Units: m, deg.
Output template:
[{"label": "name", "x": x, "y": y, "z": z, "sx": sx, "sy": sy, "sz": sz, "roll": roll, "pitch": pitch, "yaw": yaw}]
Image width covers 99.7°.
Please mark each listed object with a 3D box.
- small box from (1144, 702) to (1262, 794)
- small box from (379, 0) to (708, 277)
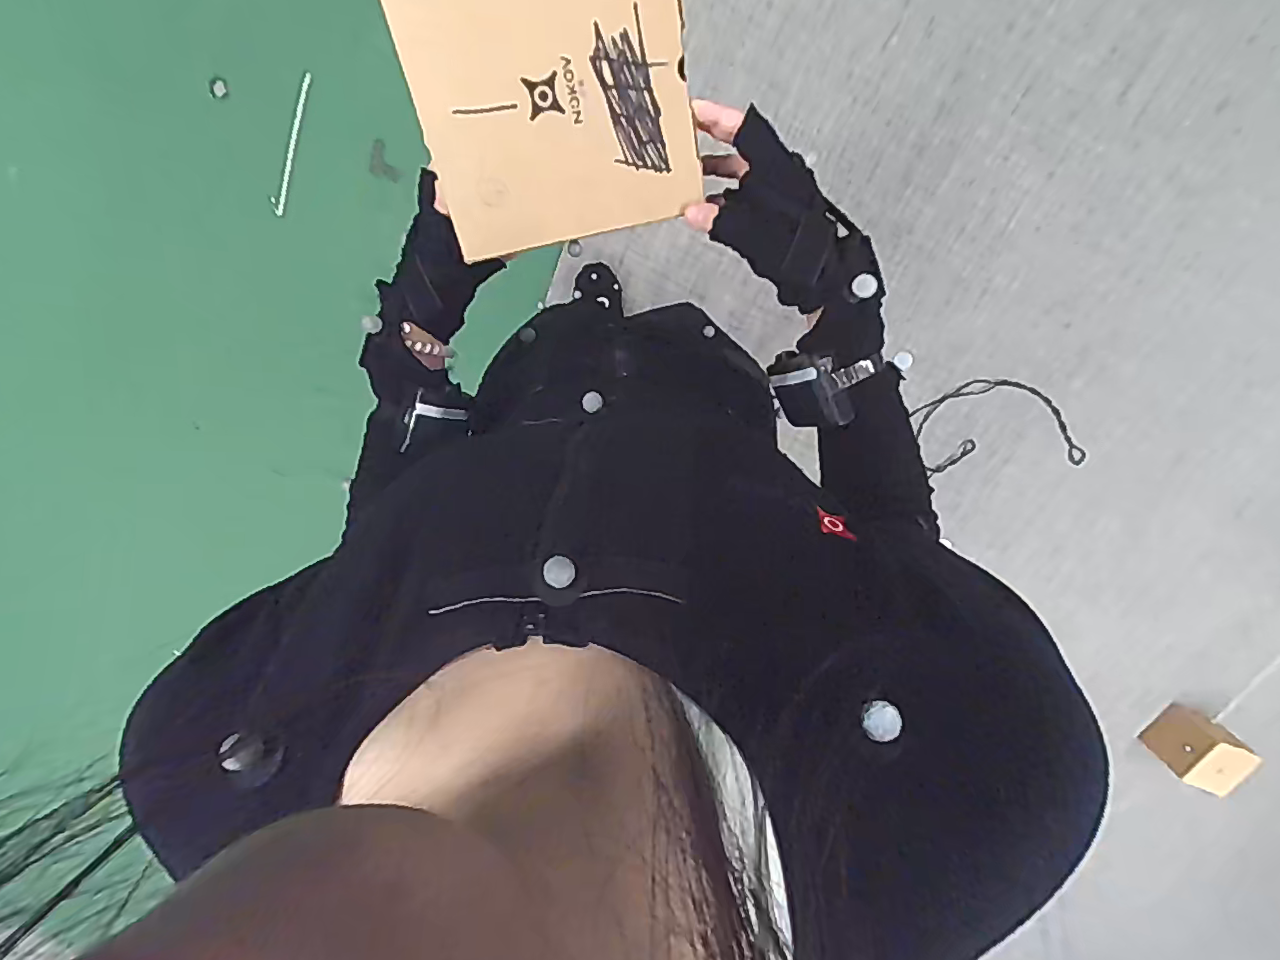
[{"label": "small box", "x": 1.792, "y": 0.858, "z": 1.738, "sx": 0.168, "sy": 0.176, "sz": 0.179, "roll": 22, "pitch": 109, "yaw": -7}, {"label": "small box", "x": -0.062, "y": -0.263, "z": 0.407, "sx": 0.179, "sy": 0.176, "sz": 0.168, "roll": -13, "pitch": 117, "yaw": -3}]
